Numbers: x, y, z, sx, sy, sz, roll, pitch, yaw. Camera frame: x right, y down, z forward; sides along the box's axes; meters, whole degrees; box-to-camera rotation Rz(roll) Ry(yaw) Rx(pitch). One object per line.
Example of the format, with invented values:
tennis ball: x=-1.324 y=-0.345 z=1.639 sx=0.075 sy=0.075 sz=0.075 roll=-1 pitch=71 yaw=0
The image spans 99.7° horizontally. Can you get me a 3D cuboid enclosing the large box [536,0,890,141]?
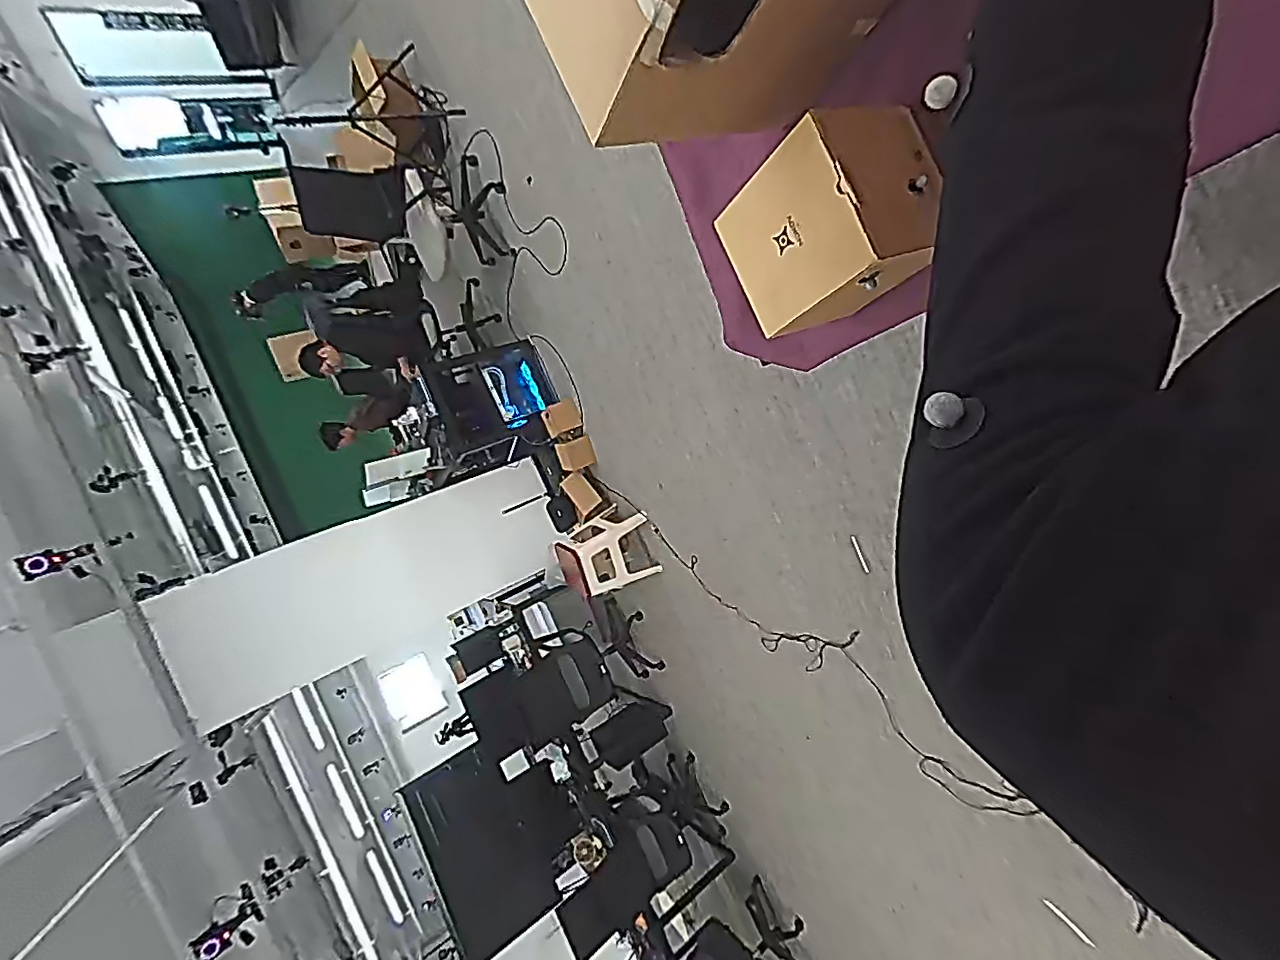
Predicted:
large box: x=0.058 y=-0.632 z=0.526 sx=0.408 sy=0.320 sz=0.320 roll=63 pitch=153 yaw=0

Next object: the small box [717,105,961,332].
small box: x=0.228 y=-0.300 z=0.638 sx=0.179 sy=0.176 sz=0.168 roll=-29 pitch=85 yaw=61
